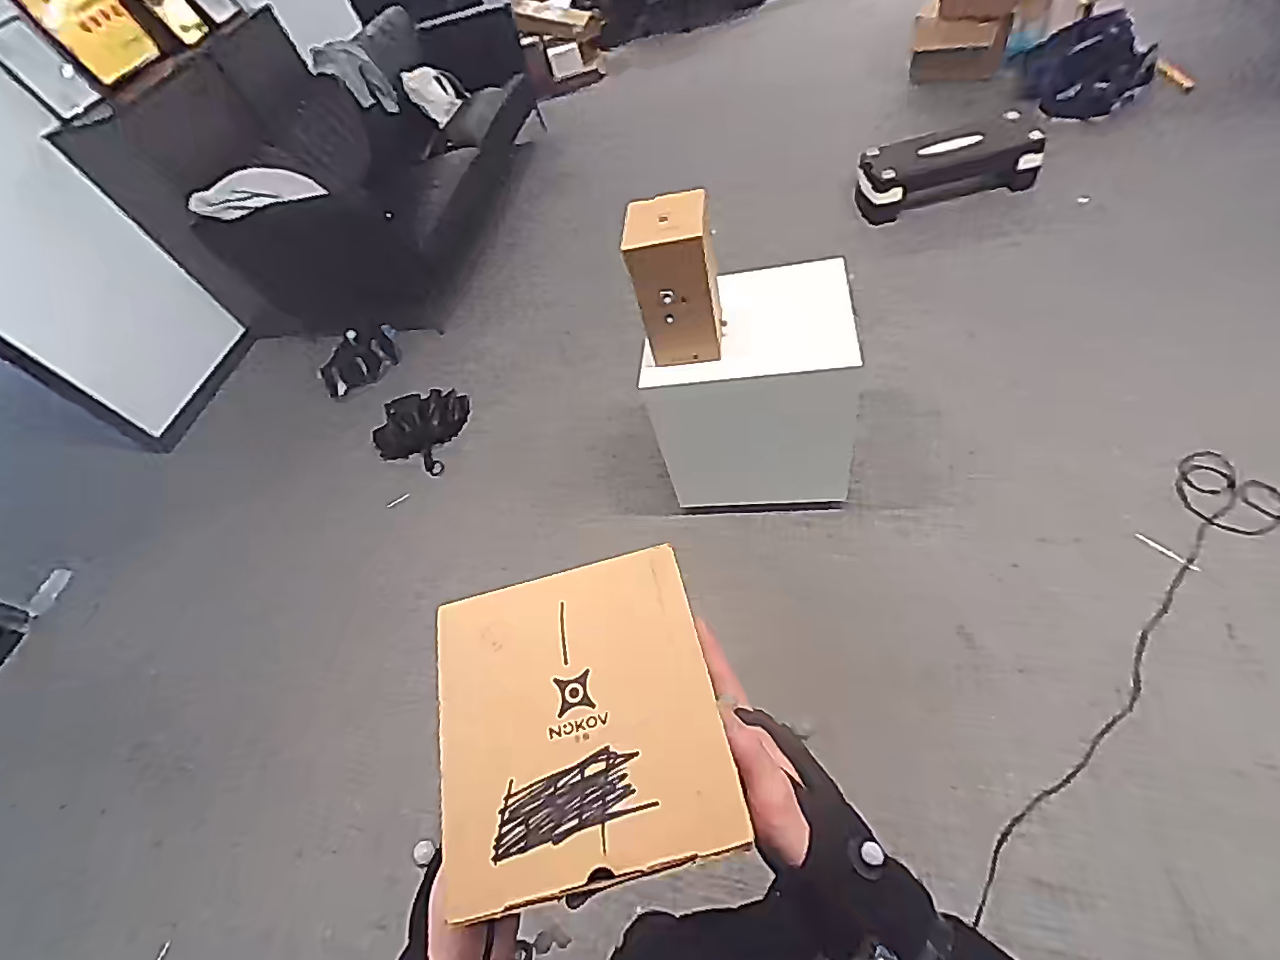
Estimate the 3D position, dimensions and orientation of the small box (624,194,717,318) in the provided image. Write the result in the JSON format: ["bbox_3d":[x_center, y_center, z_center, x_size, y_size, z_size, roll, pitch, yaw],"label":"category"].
[{"bbox_3d":[0.073,-0.478,1.167,0.168,0.176,0.179,-5,55,15],"label":"small box"}]

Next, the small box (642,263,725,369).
[{"bbox_3d":[0.111,-0.391,1.299,0.168,0.176,0.179,-3,54,15],"label":"small box"}]
